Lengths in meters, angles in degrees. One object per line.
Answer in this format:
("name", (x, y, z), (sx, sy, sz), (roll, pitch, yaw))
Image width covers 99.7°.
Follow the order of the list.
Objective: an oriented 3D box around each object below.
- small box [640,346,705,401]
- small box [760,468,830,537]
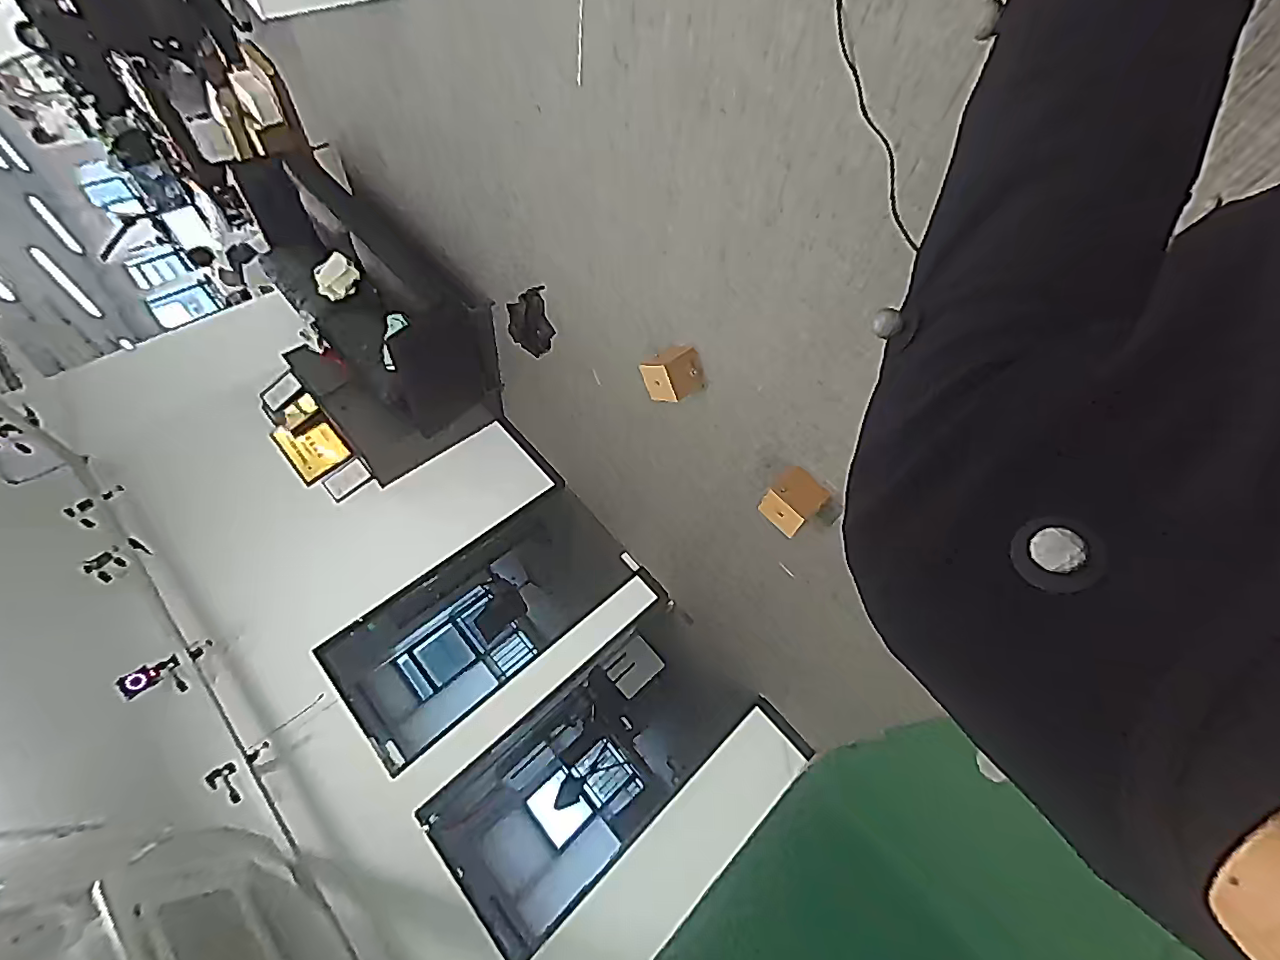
("small box", (0.138, -0.444, 2.242), (0.179, 0.176, 0.168), (15, 137, 53))
("small box", (0.603, 0.083, 2.100), (0.179, 0.176, 0.168), (45, 154, 19))
